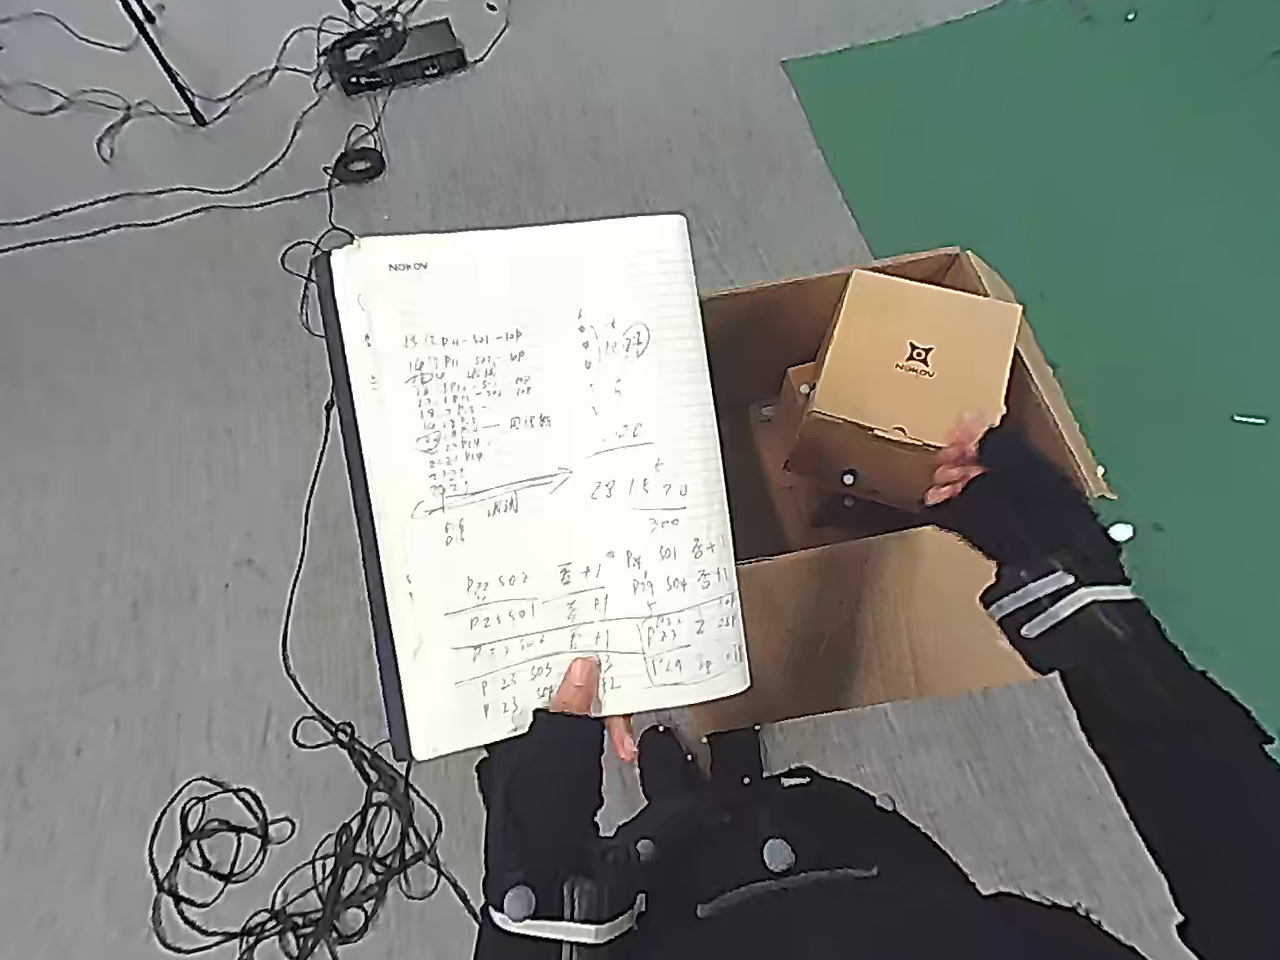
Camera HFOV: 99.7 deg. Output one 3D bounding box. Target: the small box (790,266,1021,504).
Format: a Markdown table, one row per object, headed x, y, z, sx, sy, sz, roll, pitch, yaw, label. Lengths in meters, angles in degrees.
| x | y | z | sx | sy | sz | roll | pitch | yaw | label |
| --- | --- | --- | --- | --- | --- | --- | --- | --- | --- |
| 0.276 | -0.095 | 0.596 | 0.168 | 0.176 | 0.179 | 18 | 75 | 11 | small box |
